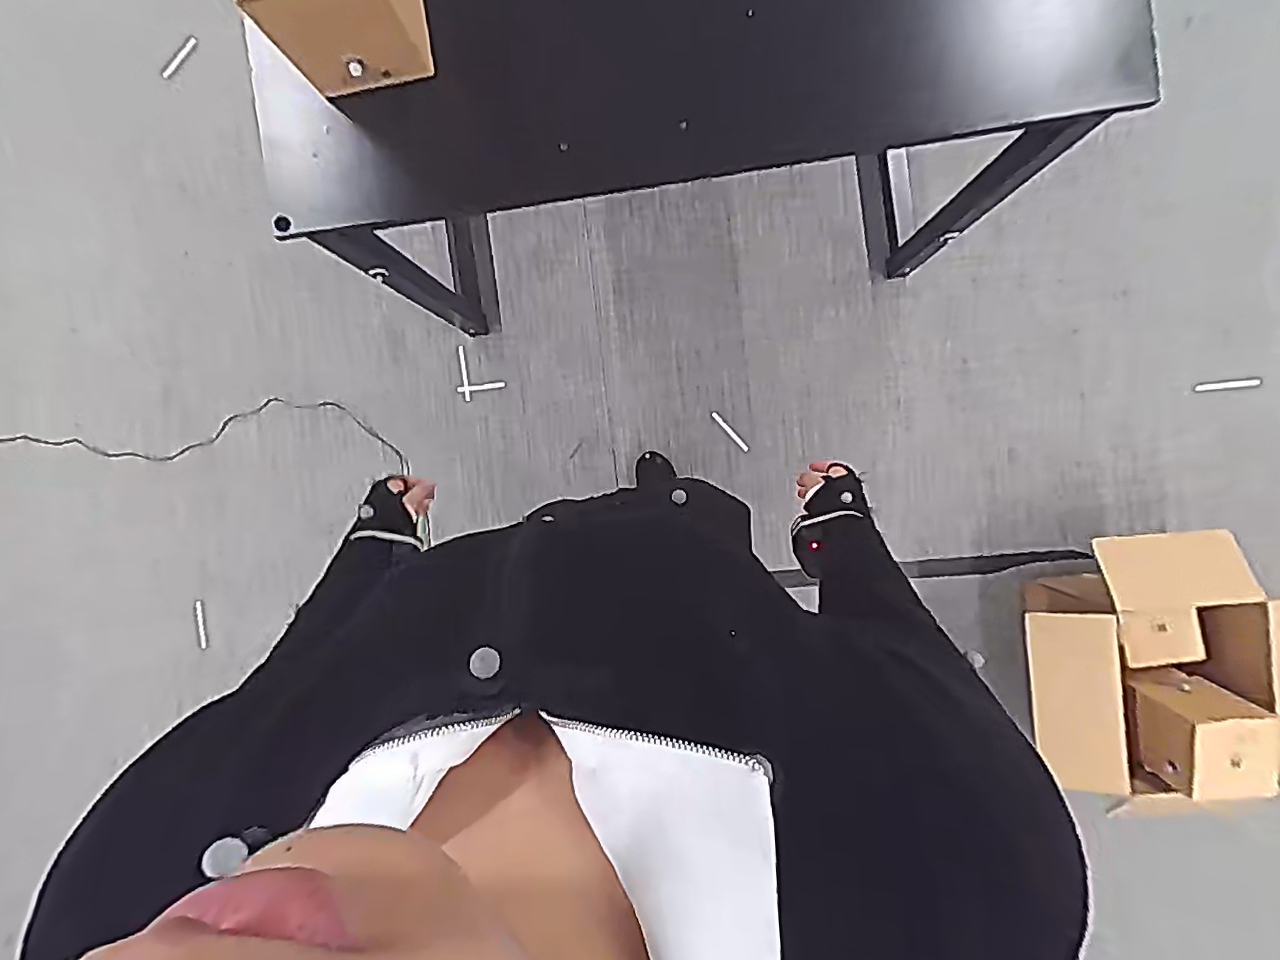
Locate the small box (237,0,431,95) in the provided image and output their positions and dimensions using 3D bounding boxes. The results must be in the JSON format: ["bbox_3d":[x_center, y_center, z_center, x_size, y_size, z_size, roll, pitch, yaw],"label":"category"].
[{"bbox_3d":[-0.385,-0.635,0.677,0.168,0.176,0.179,-9,93,4],"label":"small box"}]
